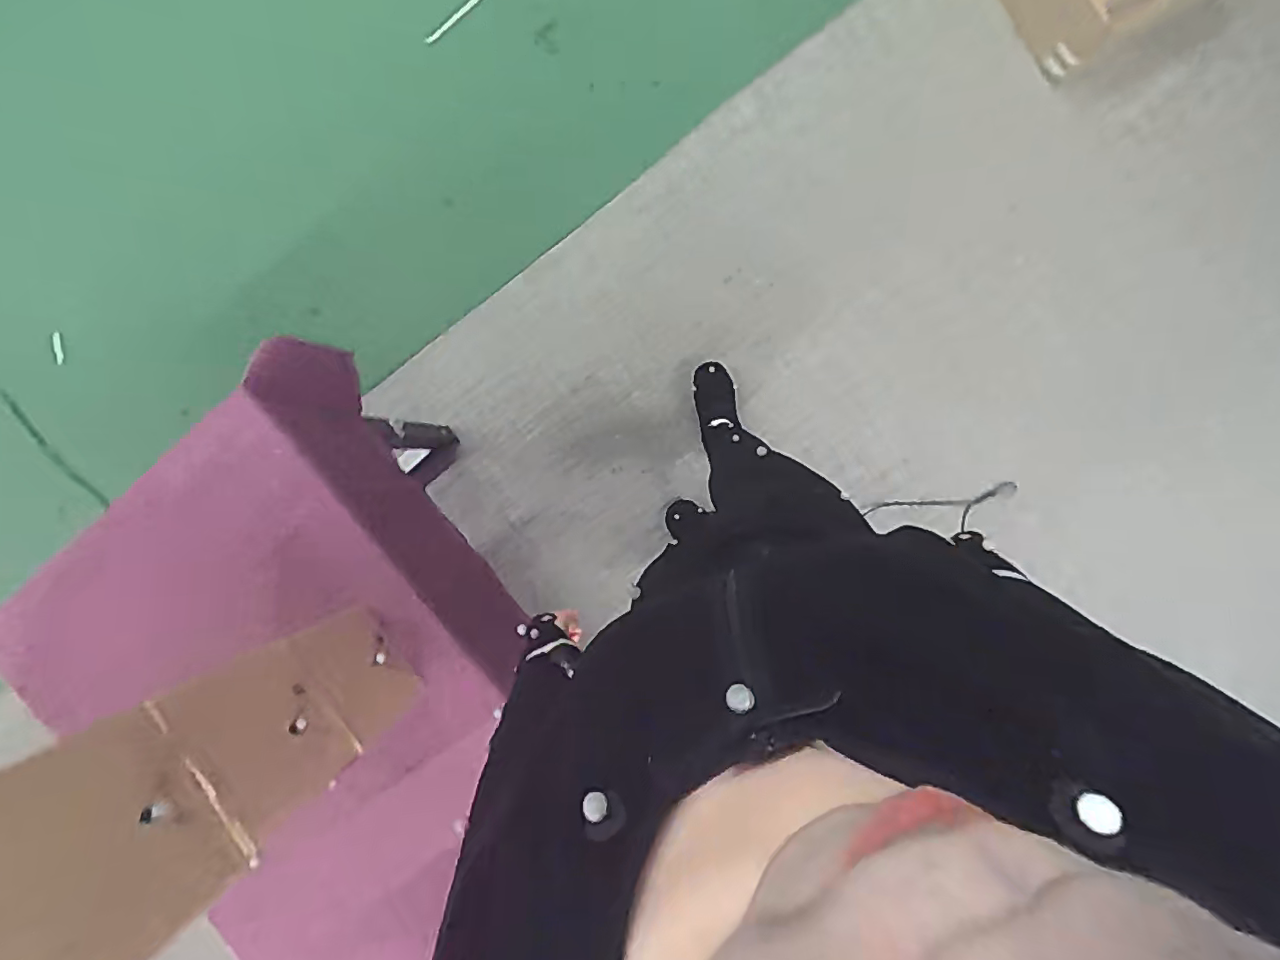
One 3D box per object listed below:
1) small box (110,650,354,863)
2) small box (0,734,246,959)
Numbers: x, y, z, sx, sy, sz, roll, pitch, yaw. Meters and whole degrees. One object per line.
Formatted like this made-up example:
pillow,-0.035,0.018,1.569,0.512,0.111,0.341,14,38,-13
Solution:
small box,-0.449,0.313,0.565,0.179,0.176,0.168,-37,90,4
small box,-0.458,0.322,0.401,0.168,0.176,0.179,-35,89,5
